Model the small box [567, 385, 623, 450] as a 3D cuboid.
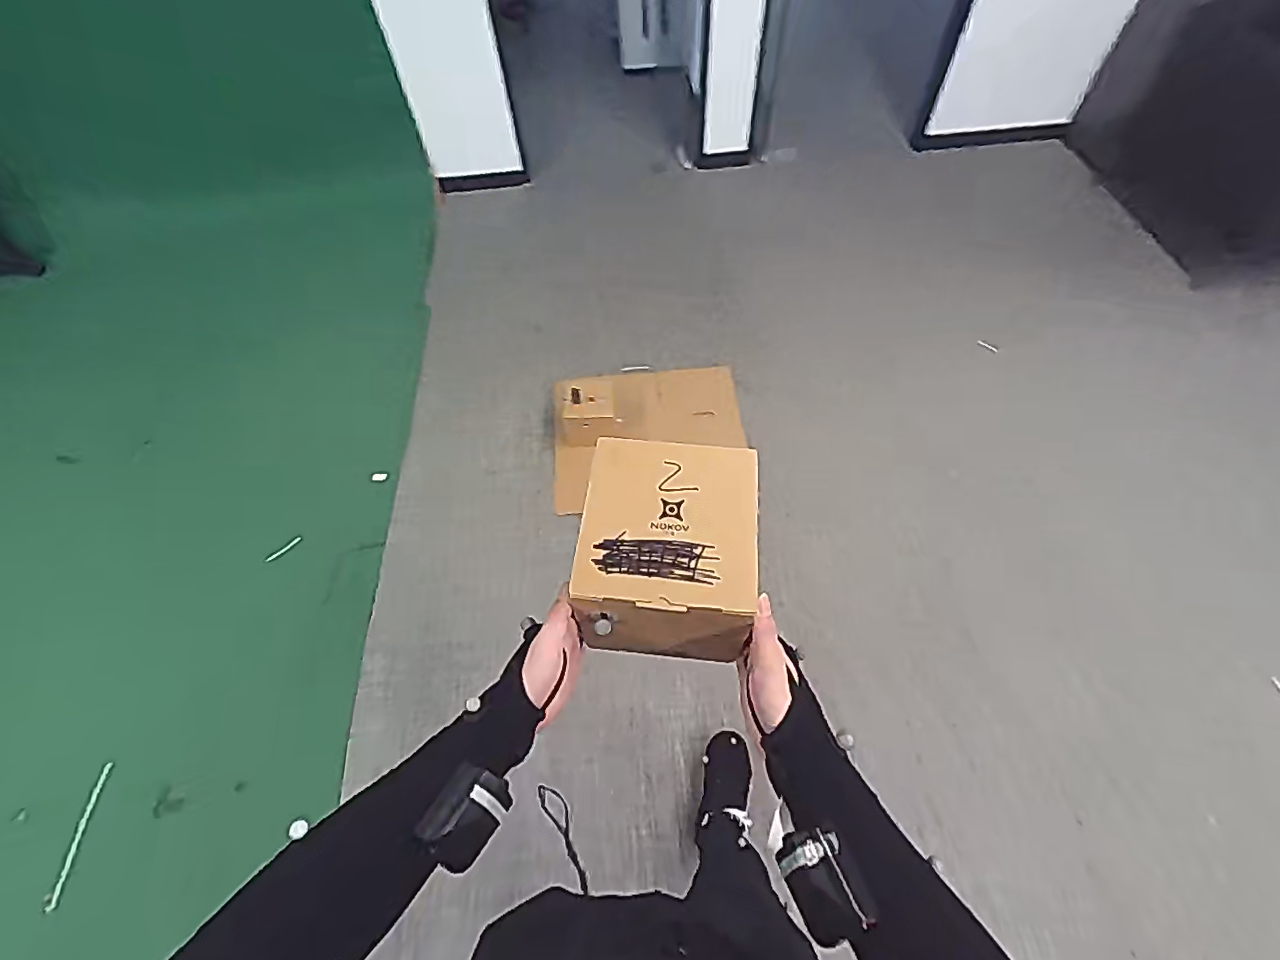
[{"bbox_3d":[-0.156,-0.220,1.932,0.179,0.176,0.168,-1,58,2],"label":"small box"}]
